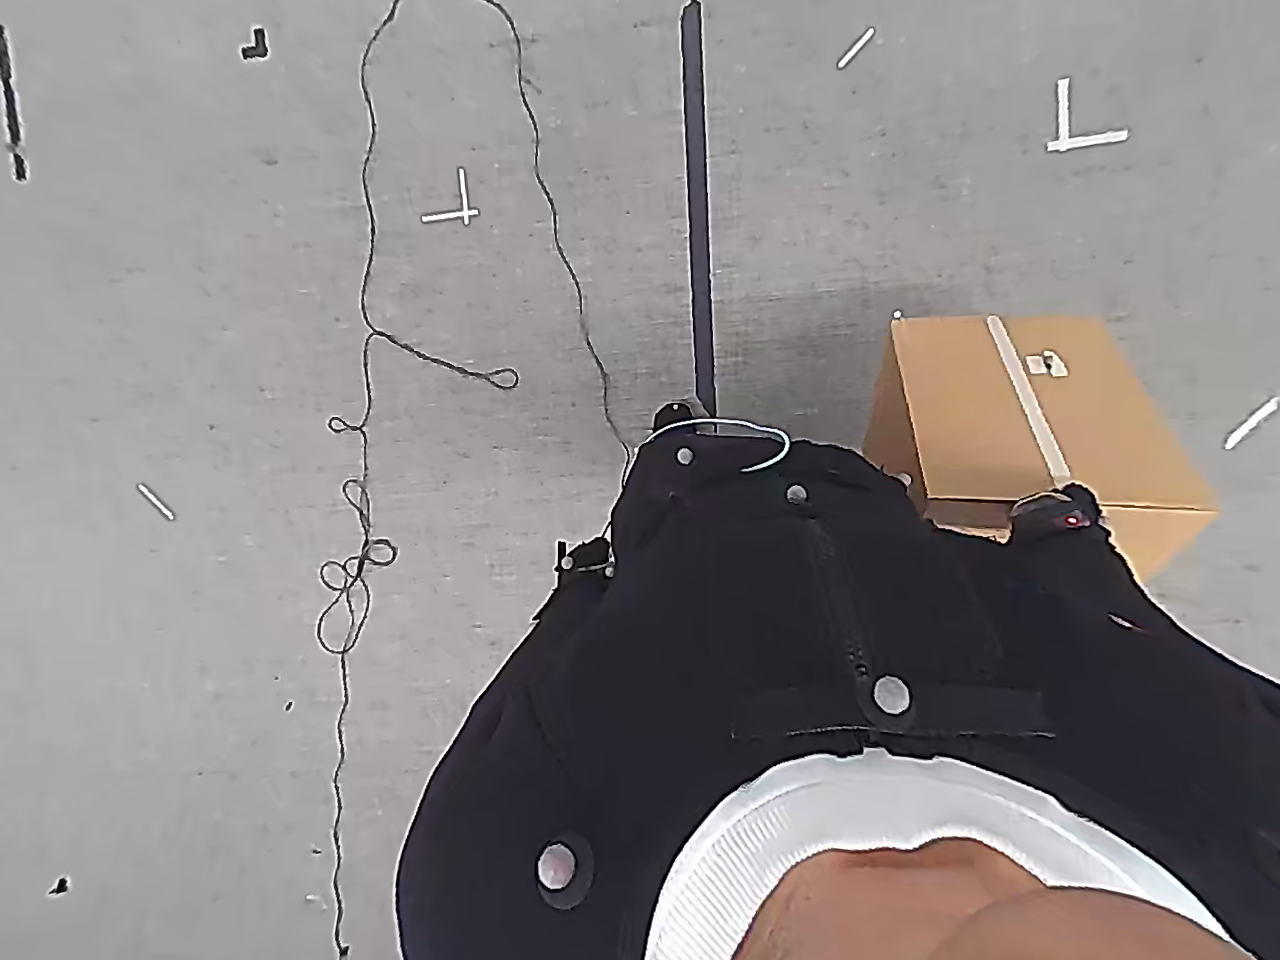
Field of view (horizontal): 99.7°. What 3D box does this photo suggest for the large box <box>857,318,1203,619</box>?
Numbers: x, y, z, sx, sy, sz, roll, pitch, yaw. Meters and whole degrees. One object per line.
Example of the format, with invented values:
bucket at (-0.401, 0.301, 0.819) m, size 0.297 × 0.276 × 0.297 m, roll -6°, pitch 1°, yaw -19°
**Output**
large box at (0.567, -0.023, 0.903) m, size 0.320 × 0.408 × 0.320 m, roll 2°, pitch 139°, yaw 11°
